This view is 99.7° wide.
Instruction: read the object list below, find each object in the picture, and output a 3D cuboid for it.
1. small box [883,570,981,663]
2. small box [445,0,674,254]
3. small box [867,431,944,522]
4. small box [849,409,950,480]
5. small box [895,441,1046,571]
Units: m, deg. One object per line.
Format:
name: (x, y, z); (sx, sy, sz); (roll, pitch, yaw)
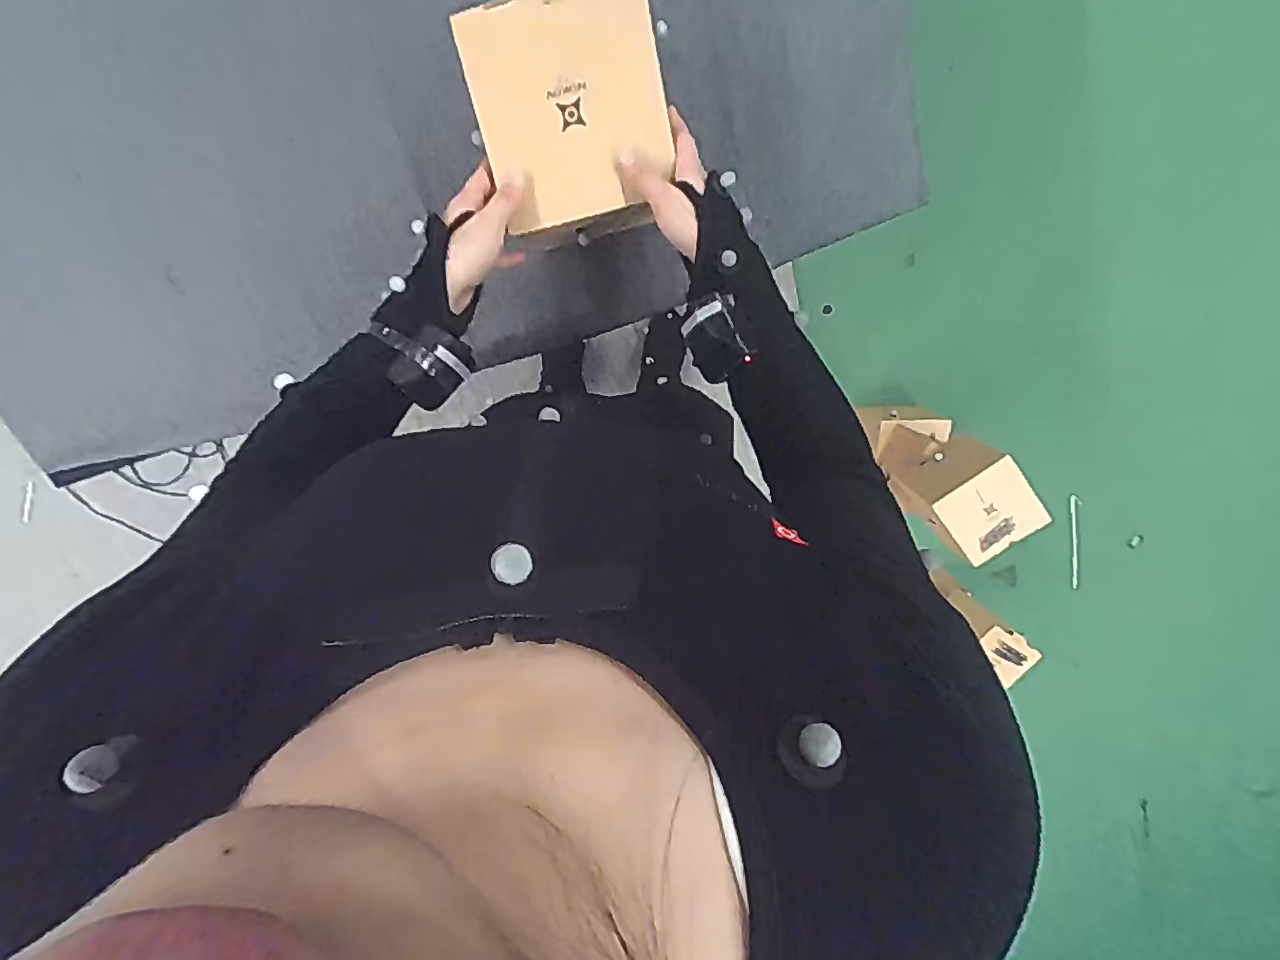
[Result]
small box: (0.845, 0.390, 1.575); (0.179, 0.176, 0.168); (-25, 108, 7)
small box: (-0.062, -0.334, 0.541); (0.168, 0.176, 0.179); (-12, 108, 5)
small box: (0.667, -0.001, 1.265); (0.179, 0.176, 0.168); (19, 110, -8)
small box: (0.663, -0.085, 1.407); (0.179, 0.176, 0.168); (-1, 110, -1)
small box: (0.666, 0.046, 1.107); (0.168, 0.176, 0.179); (-38, 105, 13)
